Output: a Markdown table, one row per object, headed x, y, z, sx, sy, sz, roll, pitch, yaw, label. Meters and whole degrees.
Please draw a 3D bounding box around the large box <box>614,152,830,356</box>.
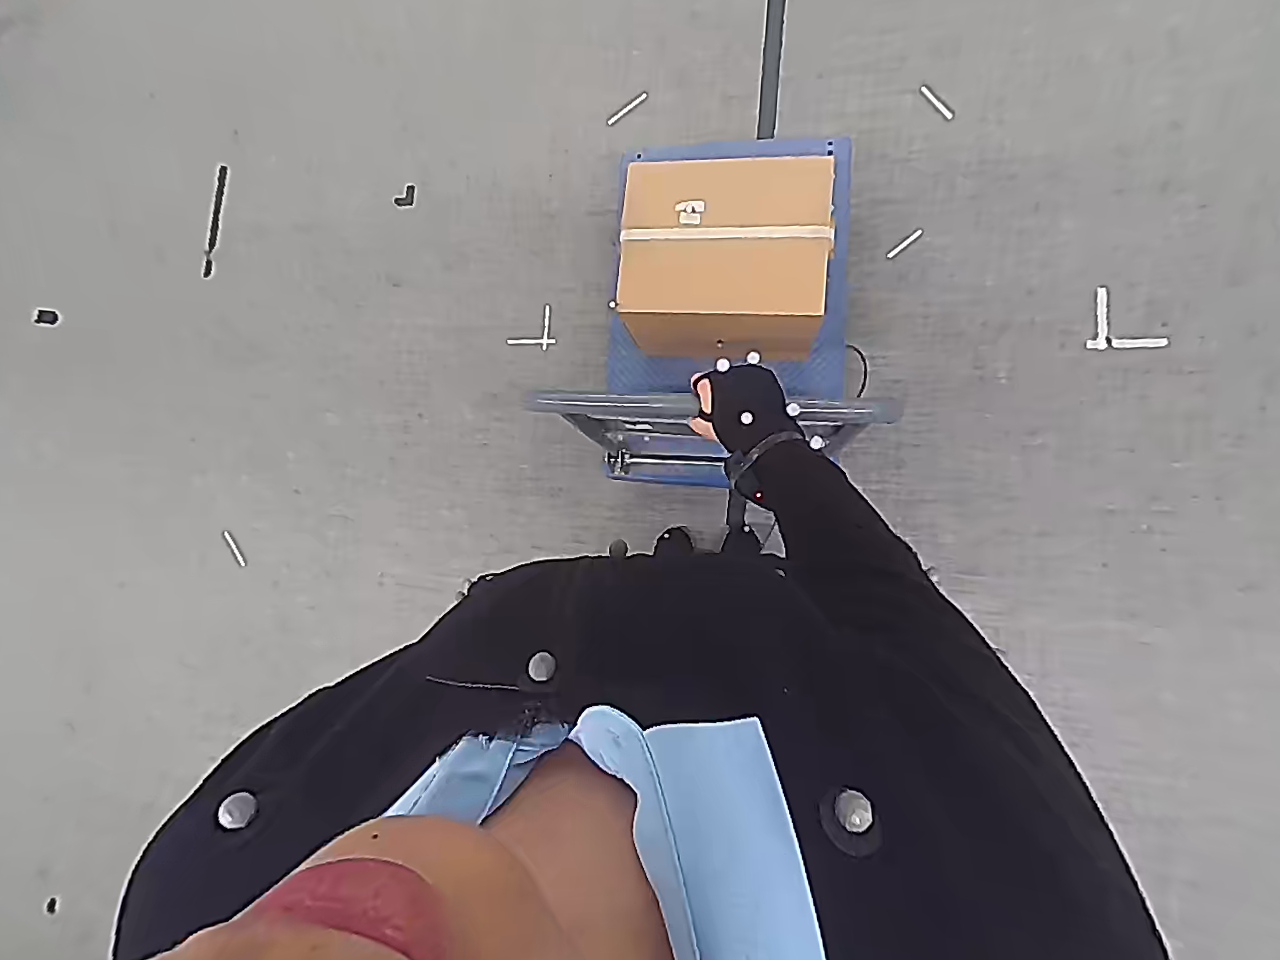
| x | y | z | sx | sy | sz | roll | pitch | yaw | label |
| --- | --- | --- | --- | --- | --- | --- | --- | --- | --- |
| 0.184 | -0.464 | 1.187 | 0.408 | 0.320 | 0.320 | 4 | 86 | 12 | large box |
